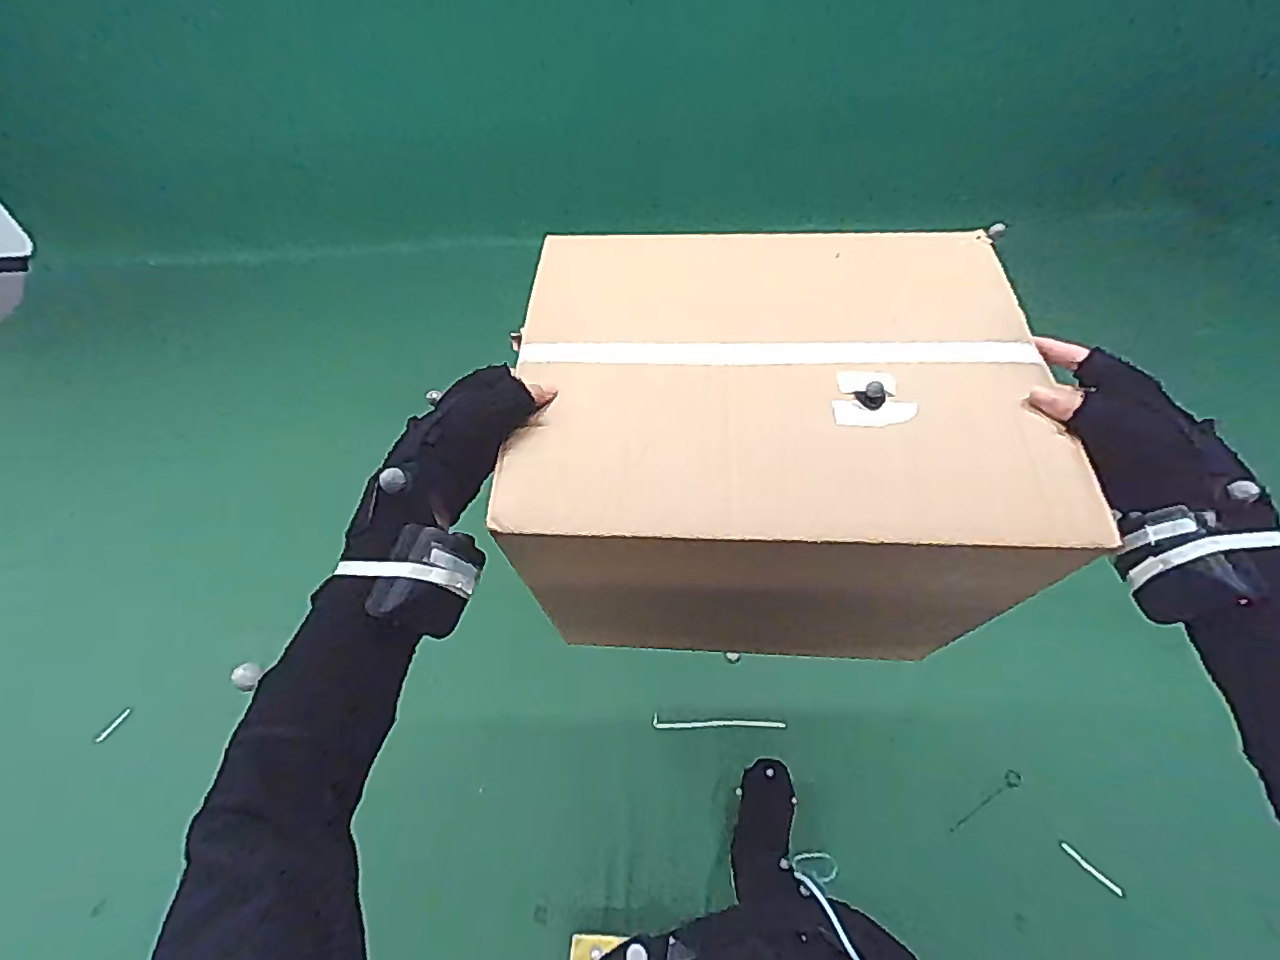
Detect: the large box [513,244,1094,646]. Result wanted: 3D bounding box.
[{"bbox_3d":[0.115,-0.019,0.571,0.408,0.320,0.320,1,60,3],"label":"large box"}]
